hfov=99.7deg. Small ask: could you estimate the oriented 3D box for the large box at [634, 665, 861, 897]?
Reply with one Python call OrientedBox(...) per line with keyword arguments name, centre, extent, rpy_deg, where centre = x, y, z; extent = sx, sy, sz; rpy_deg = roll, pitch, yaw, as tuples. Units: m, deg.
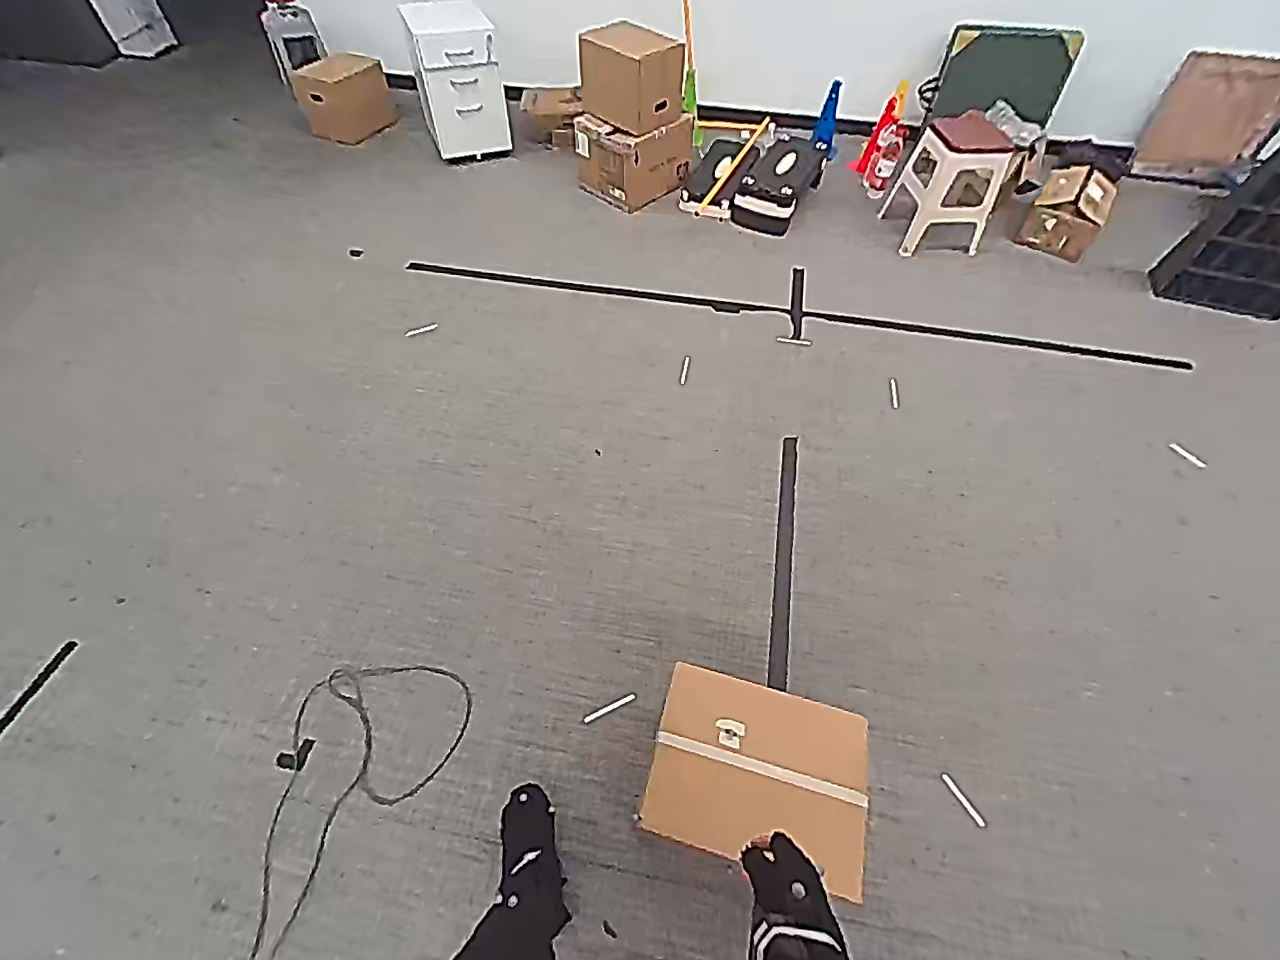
OrientedBox(name="large box", centre=(0.220, 0.643, 1.166), extent=(0.408, 0.320, 0.320), rpy_deg=(14, 55, 9))
